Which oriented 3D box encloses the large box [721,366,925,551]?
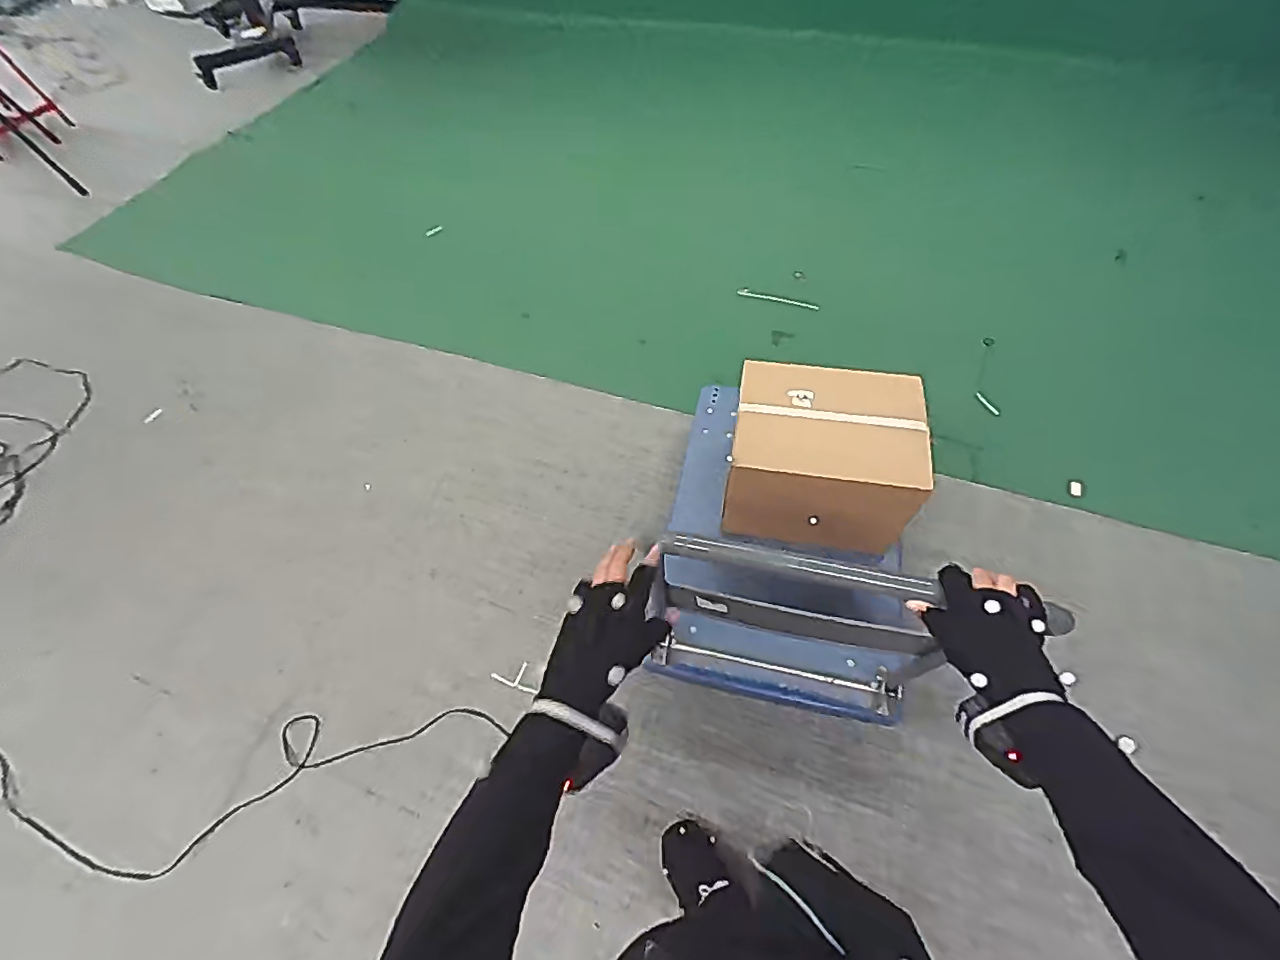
[{"bbox_3d":[0.419,-0.046,1.314,0.408,0.320,0.320,7,58,10],"label":"large box"}]
